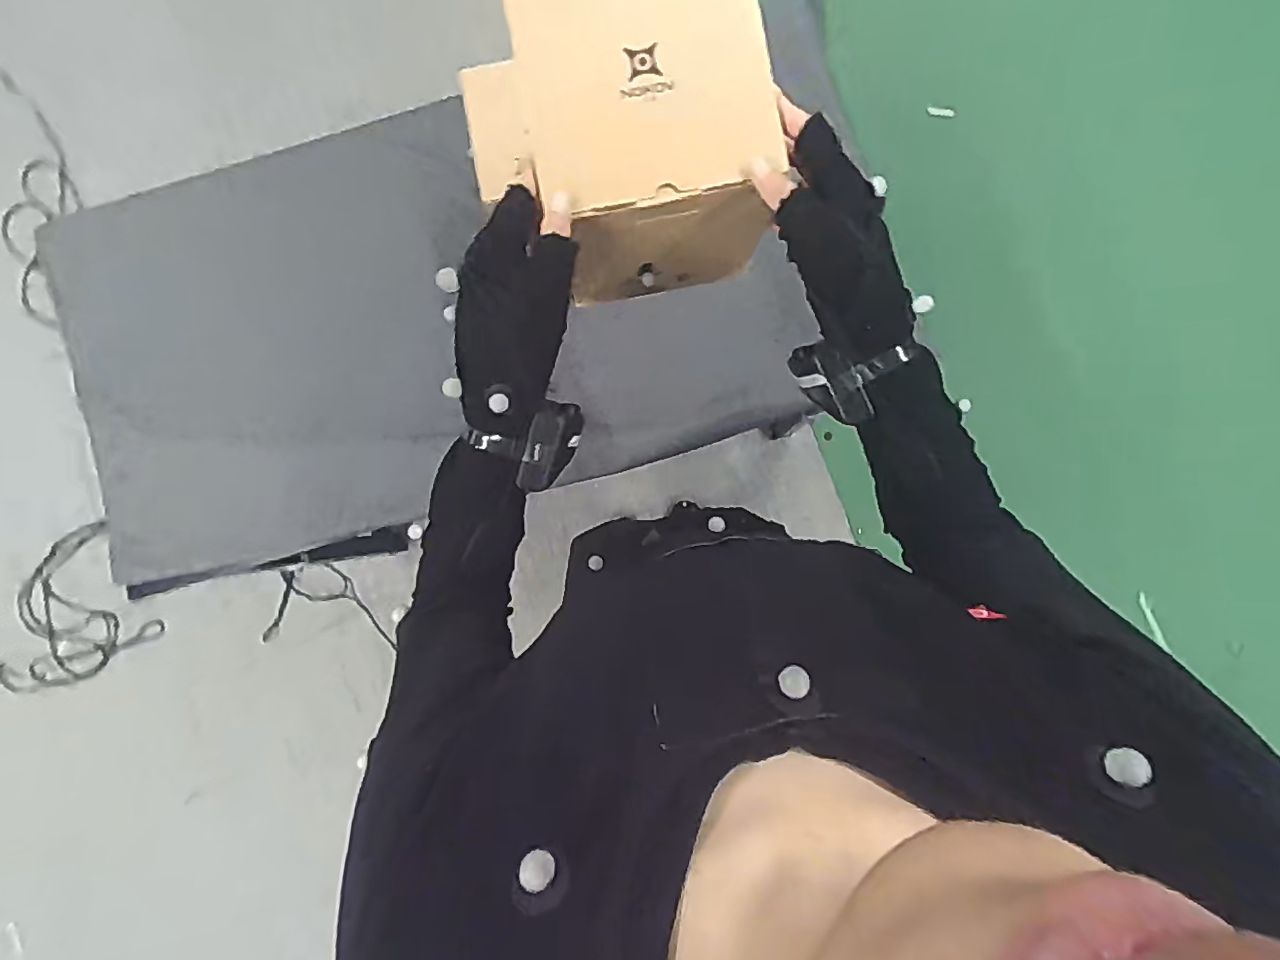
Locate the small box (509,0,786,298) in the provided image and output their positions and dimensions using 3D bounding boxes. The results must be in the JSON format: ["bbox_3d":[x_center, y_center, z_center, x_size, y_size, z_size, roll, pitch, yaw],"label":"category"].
[{"bbox_3d":[0.003,-0.271,0.436,0.168,0.176,0.179,-10,90,1],"label":"small box"}]

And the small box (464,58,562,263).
[{"bbox_3d":[-0.118,-0.424,0.728,0.168,0.176,0.179,-11,86,2],"label":"small box"}]
